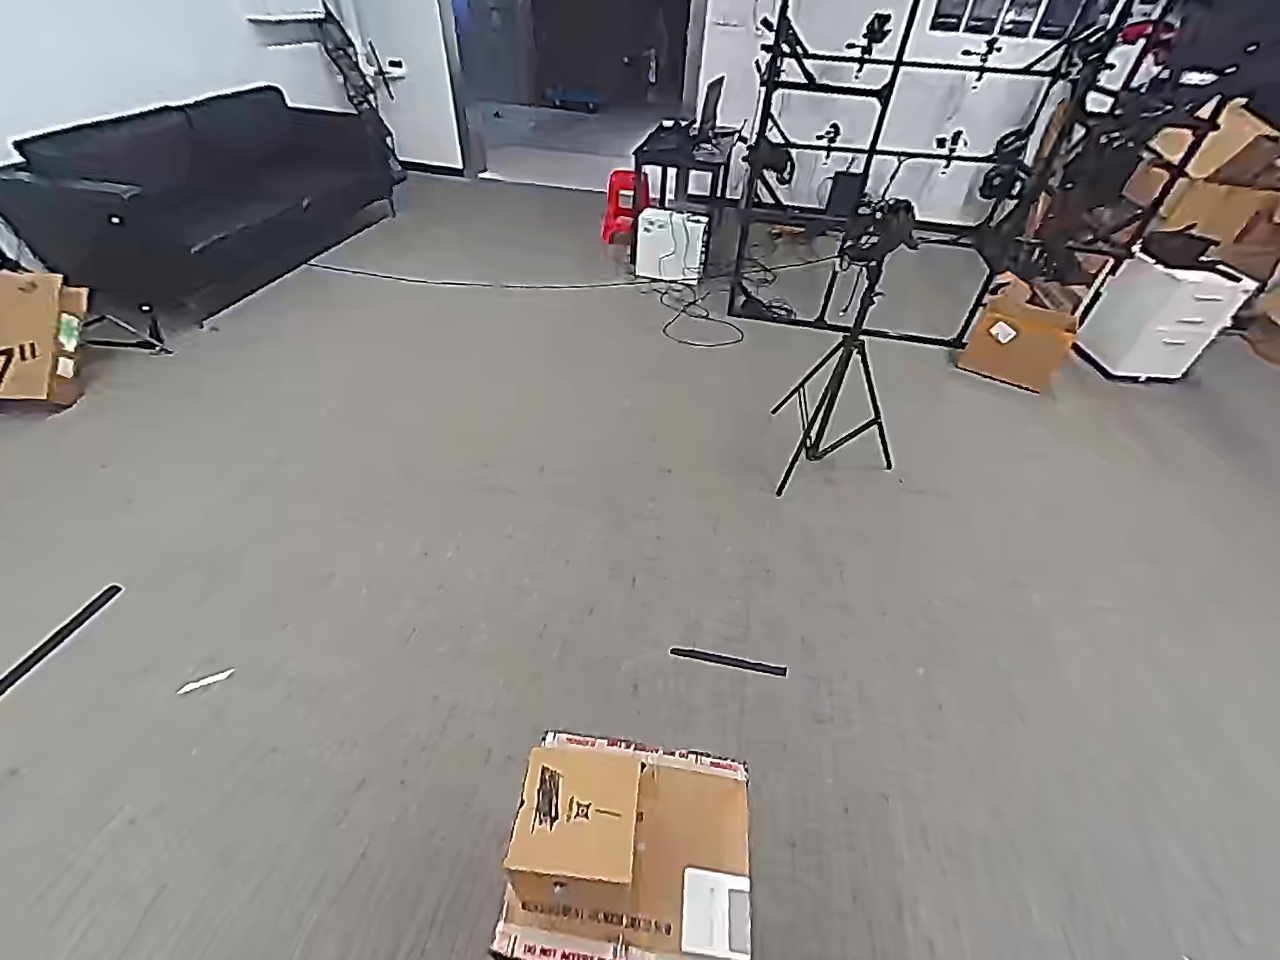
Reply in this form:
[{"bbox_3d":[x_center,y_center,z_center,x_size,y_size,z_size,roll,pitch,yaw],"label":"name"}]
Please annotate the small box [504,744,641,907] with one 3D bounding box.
[{"bbox_3d":[-0.094,0.536,0.839,0.179,0.176,0.168,5,40,3],"label":"small box"}]
